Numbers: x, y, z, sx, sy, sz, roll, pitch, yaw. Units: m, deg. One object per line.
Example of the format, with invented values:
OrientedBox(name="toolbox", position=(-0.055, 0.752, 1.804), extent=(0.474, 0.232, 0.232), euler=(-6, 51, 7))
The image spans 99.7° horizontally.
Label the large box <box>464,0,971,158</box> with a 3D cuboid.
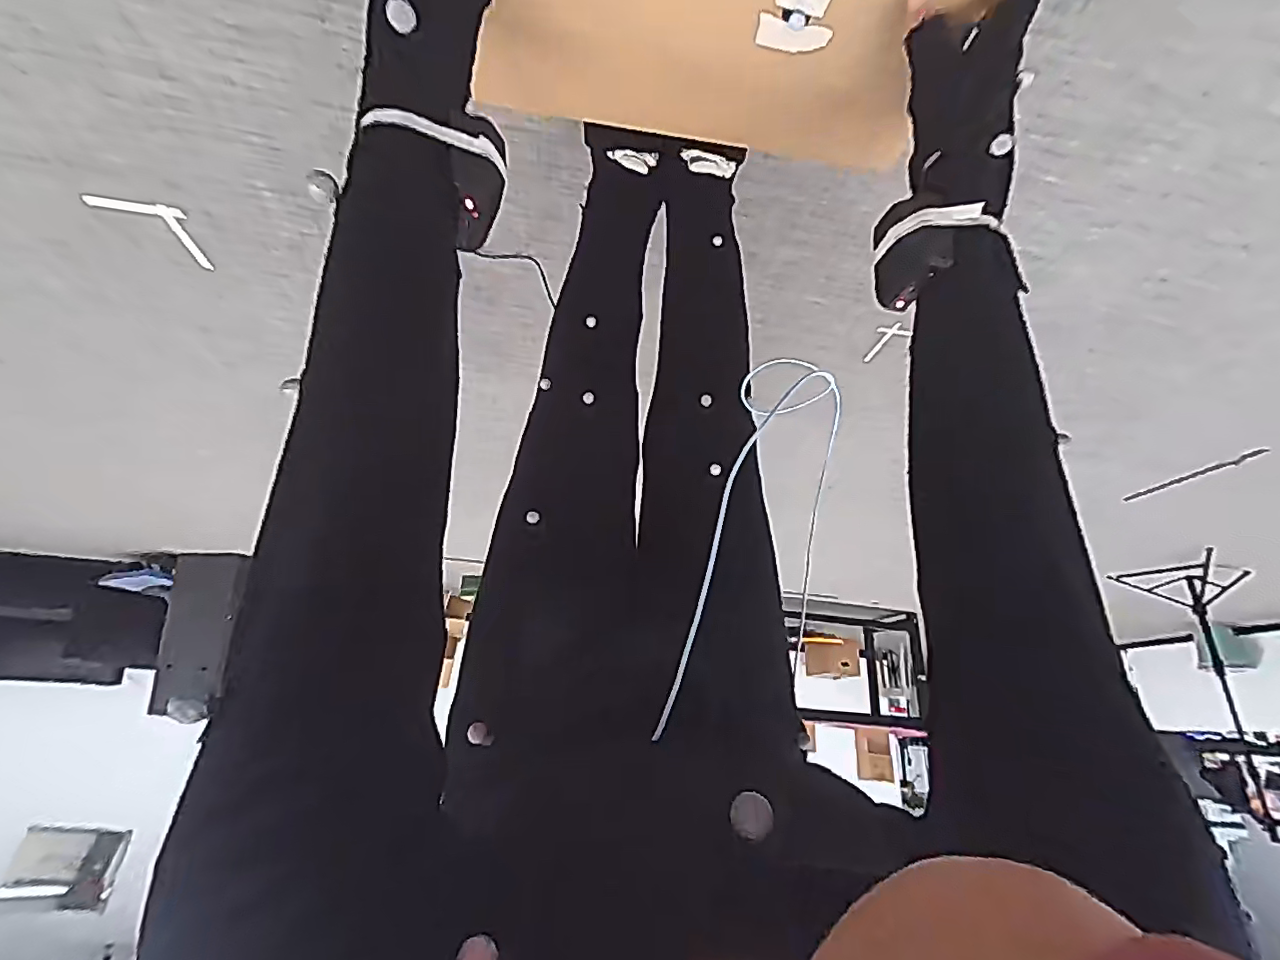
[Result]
OrientedBox(name="large box", position=(0.069, -0.533, 0.446), extent=(0.408, 0.320, 0.320), euler=(6, 155, -5))
